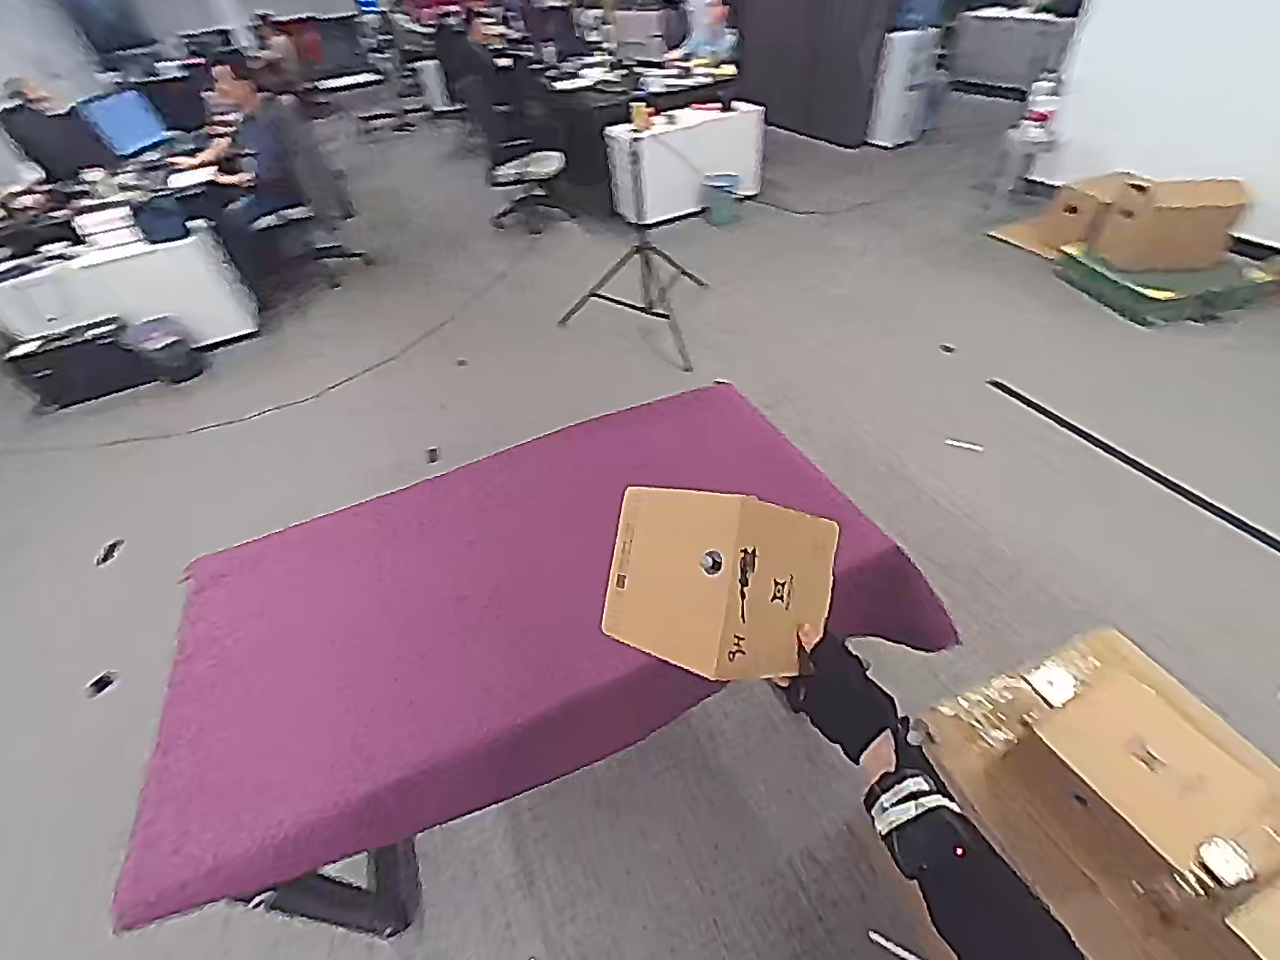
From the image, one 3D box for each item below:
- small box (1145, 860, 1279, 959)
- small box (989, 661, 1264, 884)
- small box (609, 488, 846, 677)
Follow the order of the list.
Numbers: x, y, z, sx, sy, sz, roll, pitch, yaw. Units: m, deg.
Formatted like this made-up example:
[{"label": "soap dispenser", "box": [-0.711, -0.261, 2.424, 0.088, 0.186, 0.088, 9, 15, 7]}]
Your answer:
[{"label": "small box", "box": [0.693, 0.515, 0.548, 0.168, 0.176, 0.179, -21, 44, -12]}, {"label": "small box", "box": [0.603, 0.379, 0.702, 0.168, 0.176, 0.179, -25, 48, -14]}, {"label": "small box", "box": [0.094, 0.104, 0.589, 0.176, 0.179, 0.168, 3, 81, 49]}]
